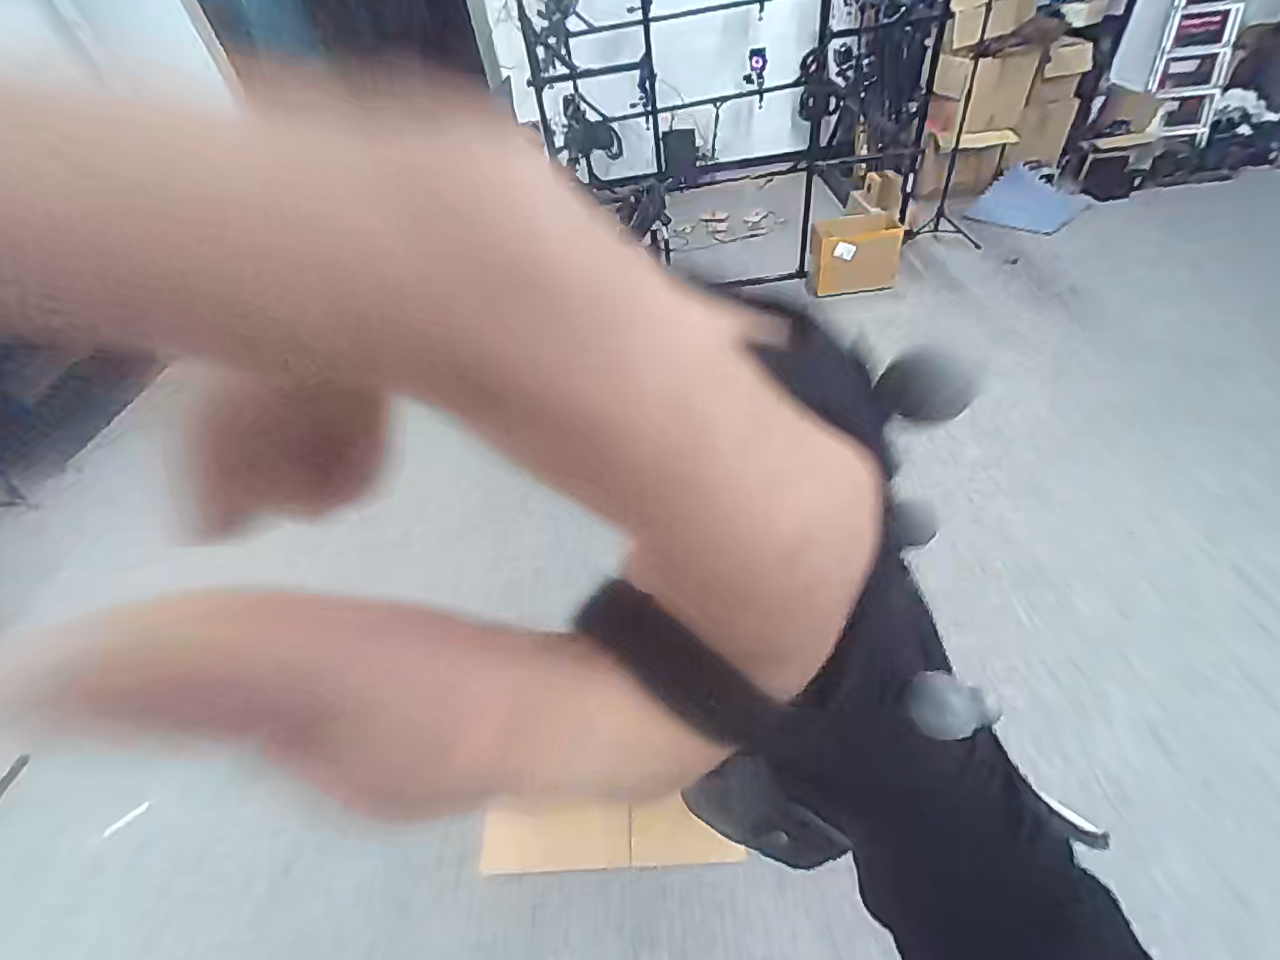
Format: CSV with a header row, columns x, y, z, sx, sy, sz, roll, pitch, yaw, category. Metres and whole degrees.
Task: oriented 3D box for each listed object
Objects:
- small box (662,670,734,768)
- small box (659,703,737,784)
x,y,z,sx,sy,sz,roll,pitch,yaw,category
0.142,0.596,1.349,0.168,0.176,0.179,-5,45,5,small box
0.159,0.703,1.472,0.179,0.176,0.168,-12,45,-2,small box
